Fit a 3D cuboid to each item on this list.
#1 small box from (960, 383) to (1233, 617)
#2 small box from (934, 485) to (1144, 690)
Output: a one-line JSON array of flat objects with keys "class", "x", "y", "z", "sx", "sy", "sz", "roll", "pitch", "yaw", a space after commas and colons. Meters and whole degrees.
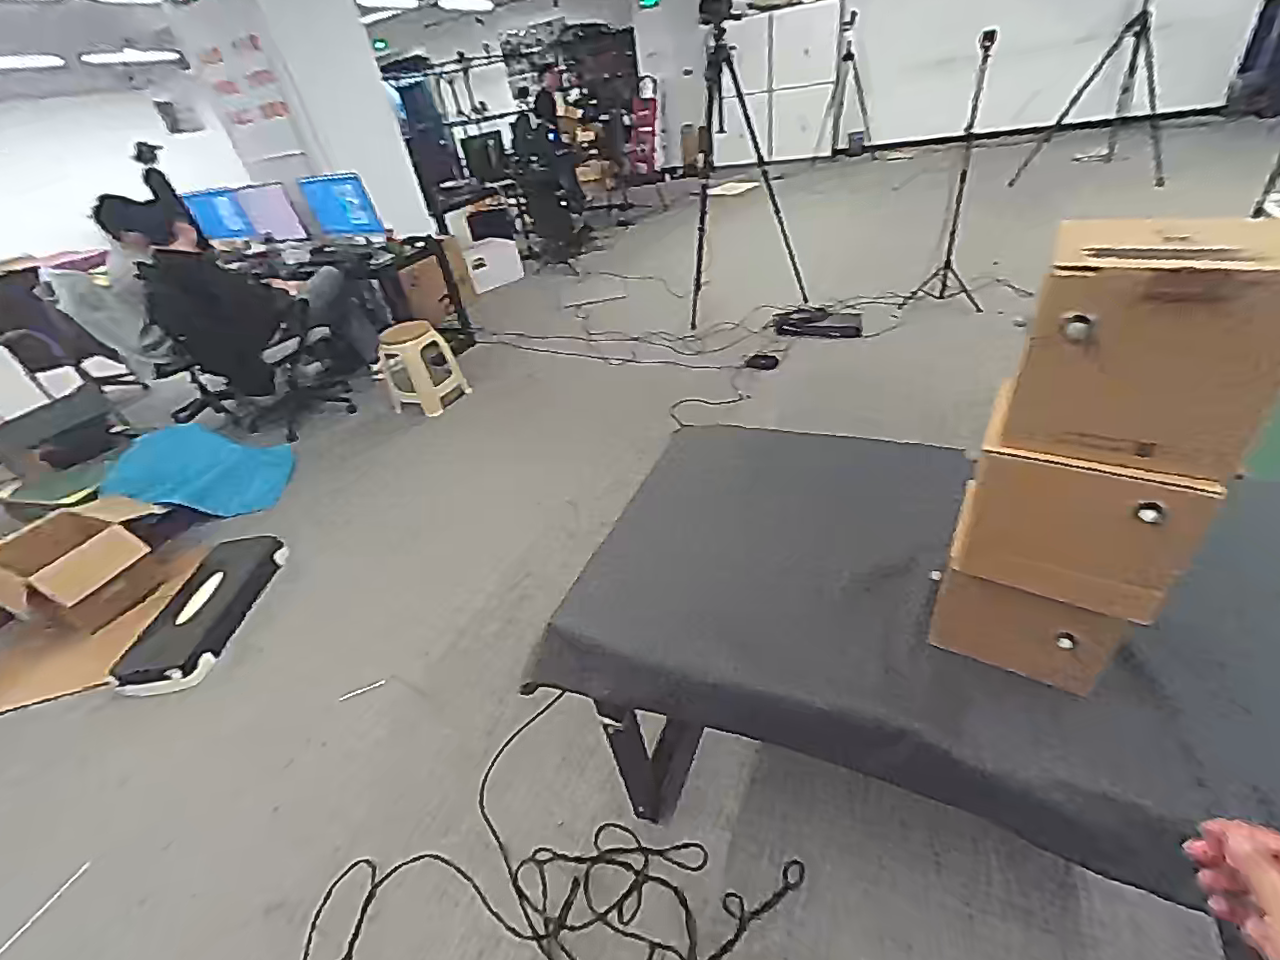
[{"class": "small box", "x": 0.464, "y": 0.016, "z": 0.577, "sx": 0.179, "sy": 0.176, "sz": 0.168, "roll": 17, "pitch": 43, "yaw": 31}, {"class": "small box", "x": 0.496, "y": 0.134, "z": 0.686, "sx": 0.179, "sy": 0.176, "sz": 0.168, "roll": 14, "pitch": 41, "yaw": 31}]
